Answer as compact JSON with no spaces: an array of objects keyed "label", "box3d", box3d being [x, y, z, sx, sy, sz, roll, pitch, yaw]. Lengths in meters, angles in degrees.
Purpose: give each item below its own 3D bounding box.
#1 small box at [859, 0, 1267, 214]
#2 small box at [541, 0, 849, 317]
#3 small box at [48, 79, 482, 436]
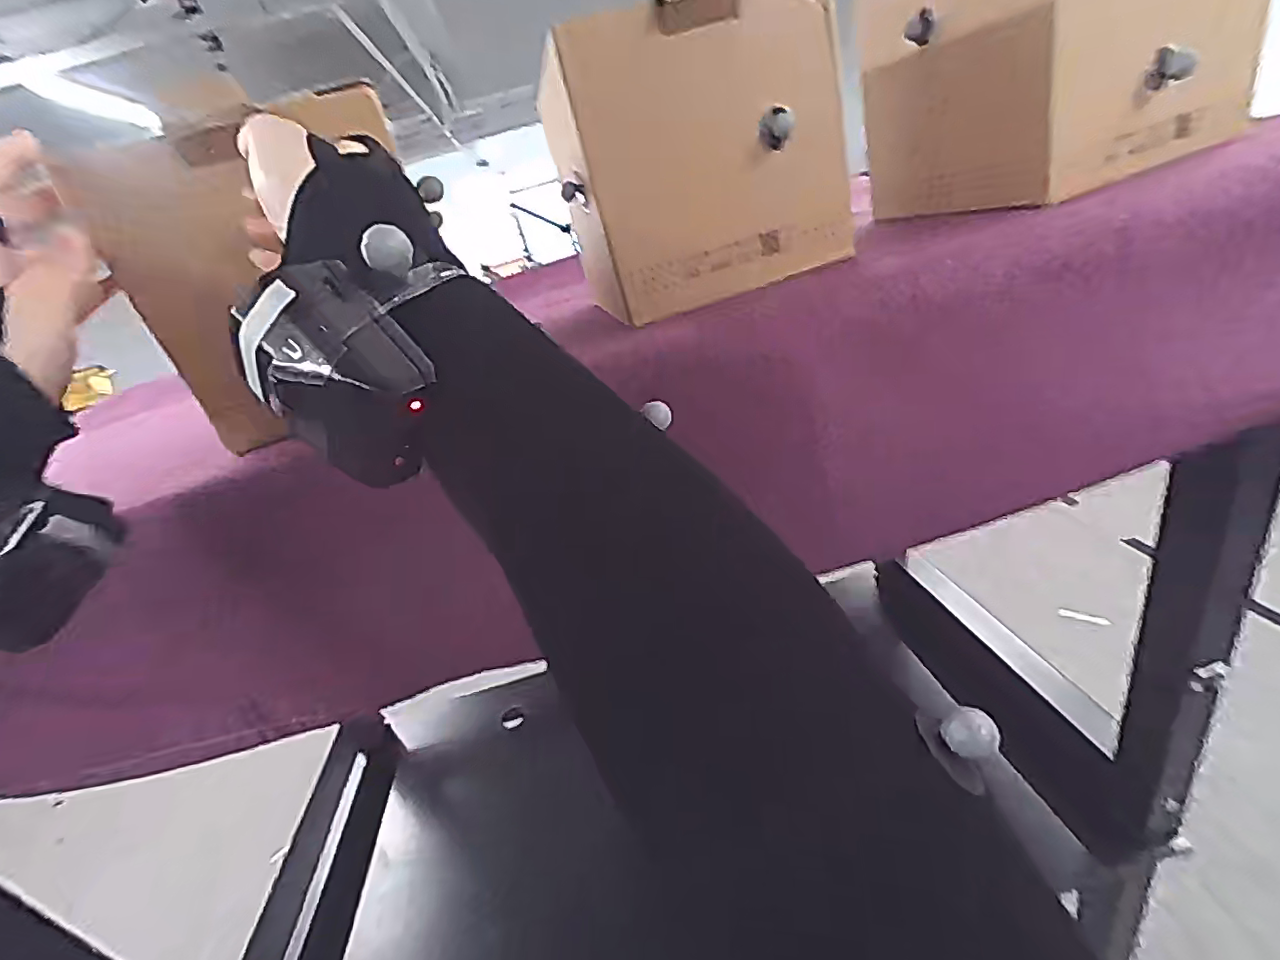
[{"label":"small box","box3d":[0.288,-0.307,0.395,0.168,0.176,0.179,-21,26,-7]},{"label":"small box","box3d":[0.035,-0.230,0.402,0.168,0.176,0.179,-19,25,-5]},{"label":"small box","box3d":[-0.224,-0.147,0.387,0.168,0.176,0.179,-22,27,-12]}]
